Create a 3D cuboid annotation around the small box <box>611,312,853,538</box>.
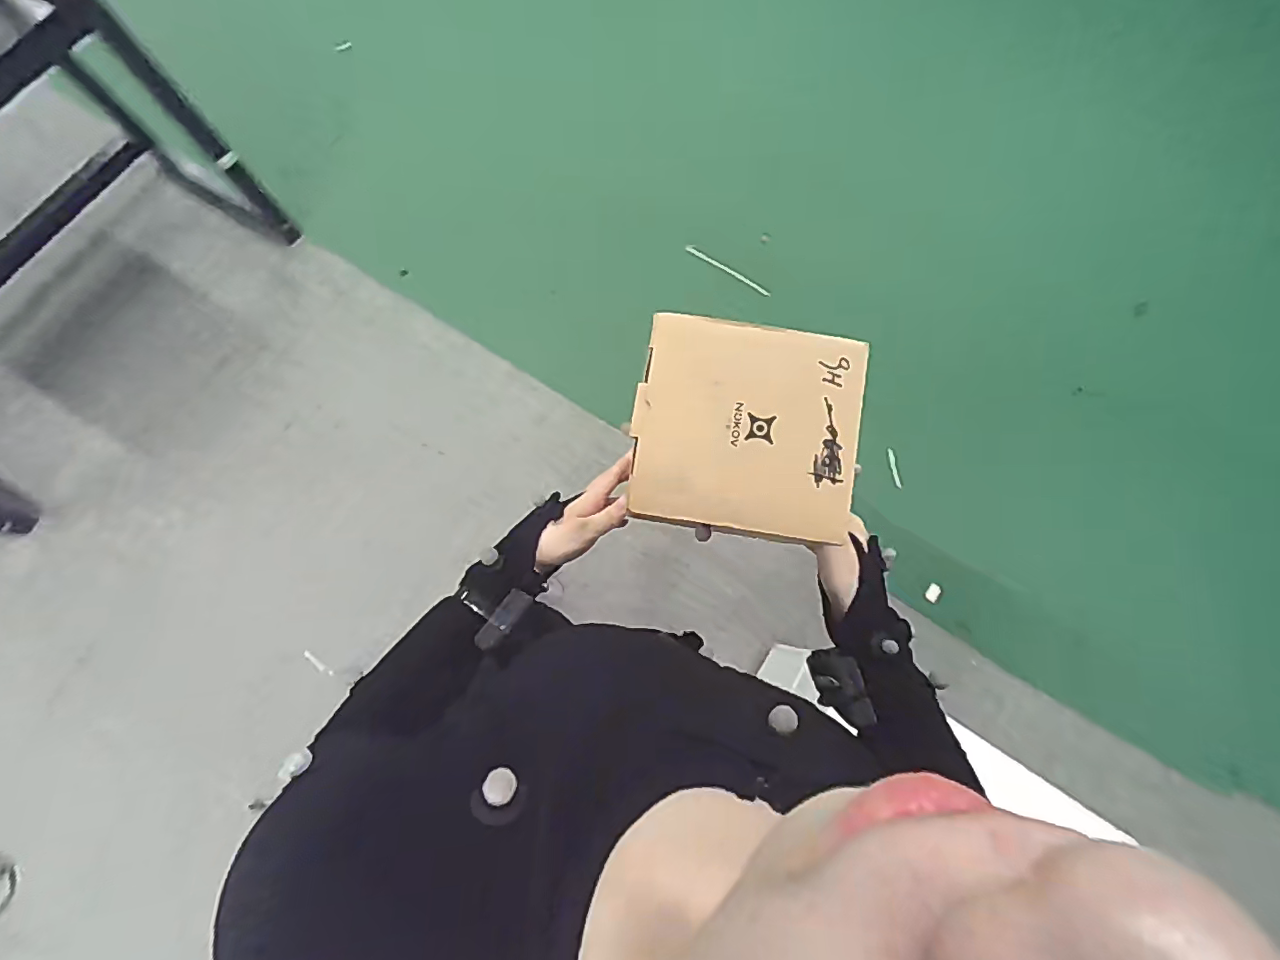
[{"bbox_3d":[0.075,-0.037,0.506,0.179,0.176,0.168,8,85,1],"label":"small box"}]
